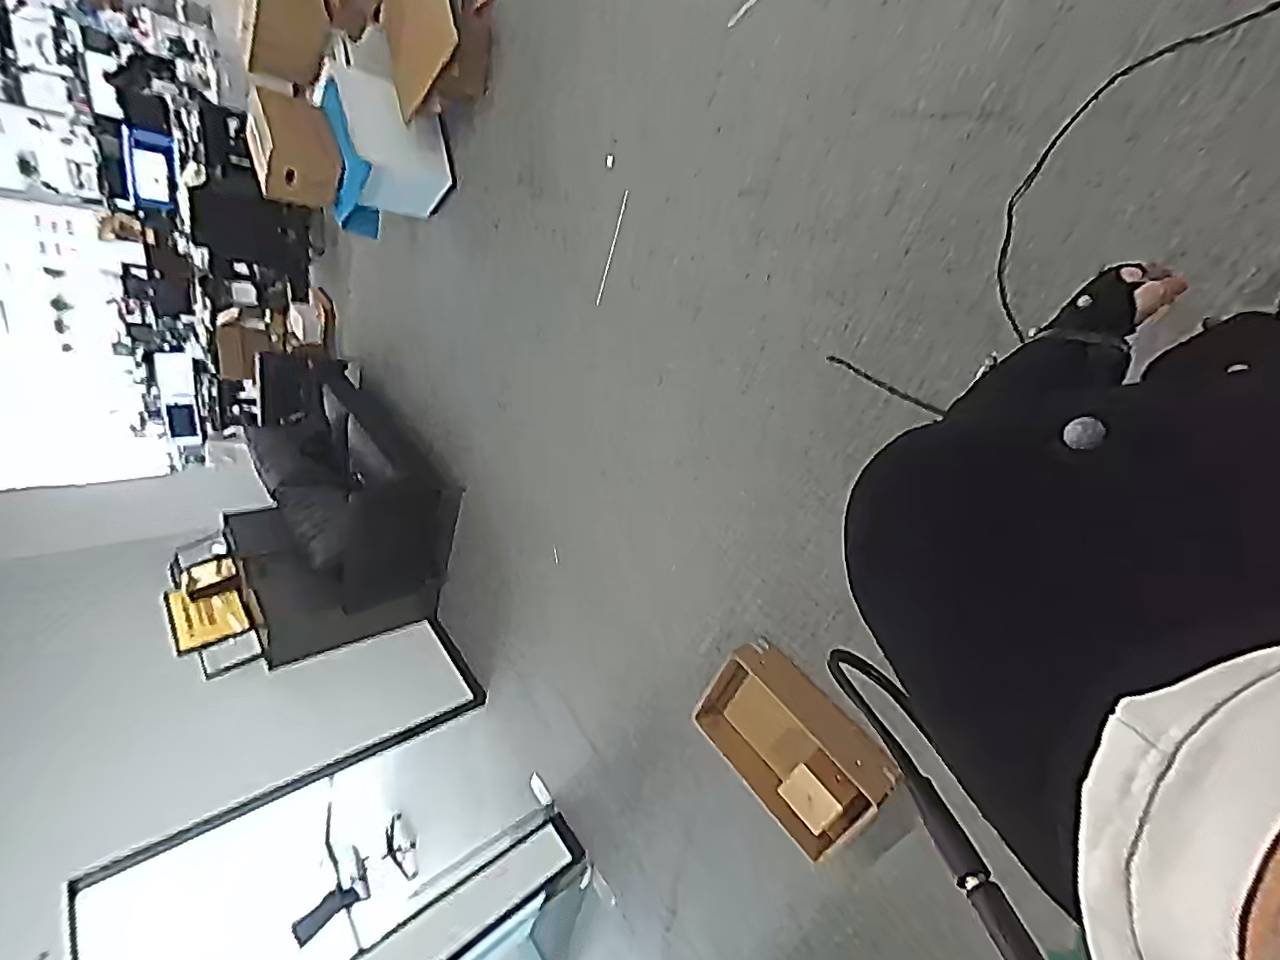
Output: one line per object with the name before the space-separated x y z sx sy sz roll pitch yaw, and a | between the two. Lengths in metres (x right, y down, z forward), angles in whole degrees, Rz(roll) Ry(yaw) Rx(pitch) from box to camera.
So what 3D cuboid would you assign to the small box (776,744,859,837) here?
small box | 0.588 1.009 1.771 0.168 0.176 0.179 43 126 32
